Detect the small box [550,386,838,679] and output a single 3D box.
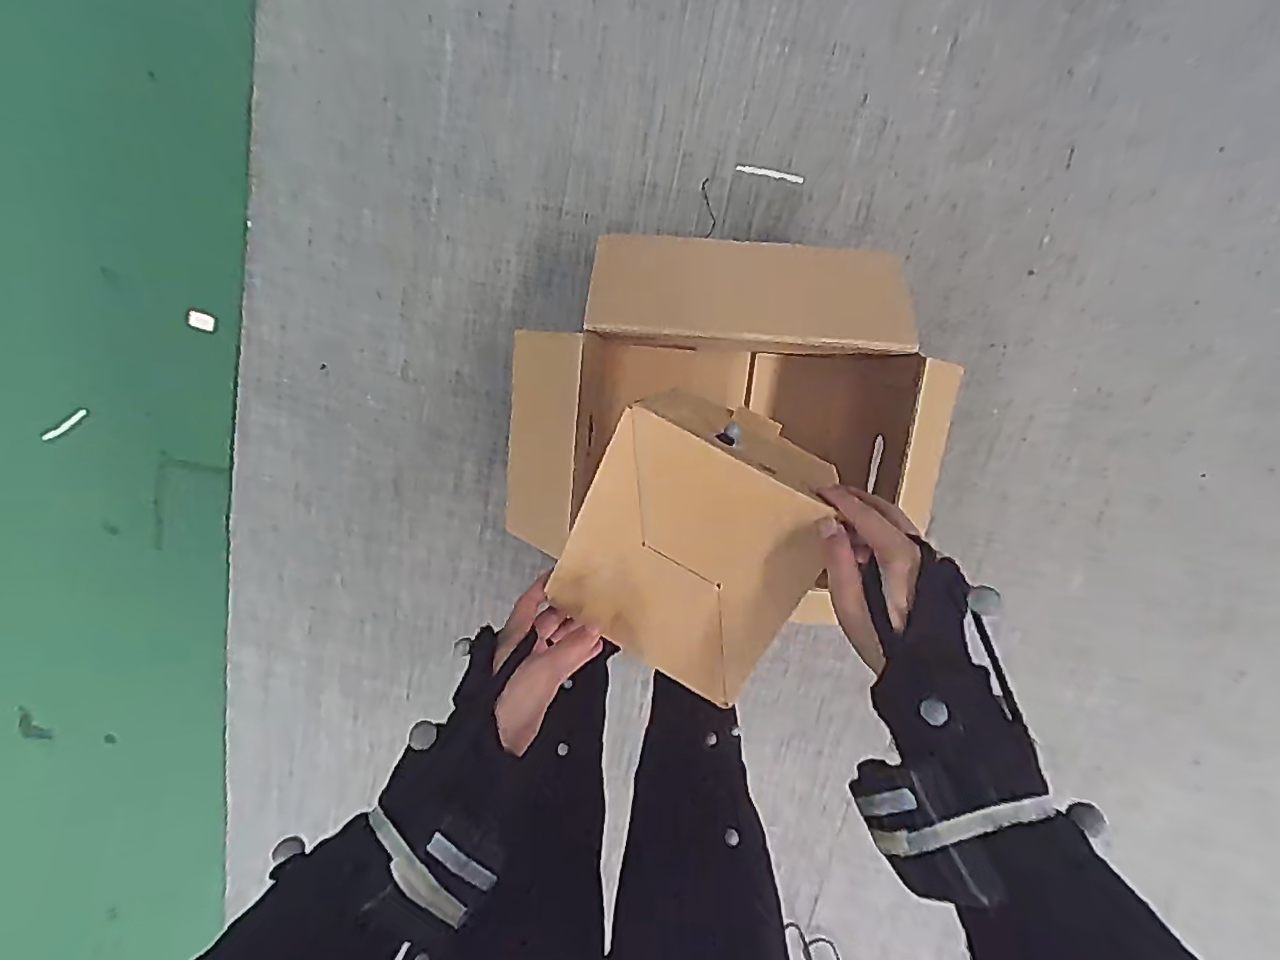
[{"bbox_3d":[0.048,0.038,0.458,0.168,0.176,0.179,29,111,7],"label":"small box"}]
